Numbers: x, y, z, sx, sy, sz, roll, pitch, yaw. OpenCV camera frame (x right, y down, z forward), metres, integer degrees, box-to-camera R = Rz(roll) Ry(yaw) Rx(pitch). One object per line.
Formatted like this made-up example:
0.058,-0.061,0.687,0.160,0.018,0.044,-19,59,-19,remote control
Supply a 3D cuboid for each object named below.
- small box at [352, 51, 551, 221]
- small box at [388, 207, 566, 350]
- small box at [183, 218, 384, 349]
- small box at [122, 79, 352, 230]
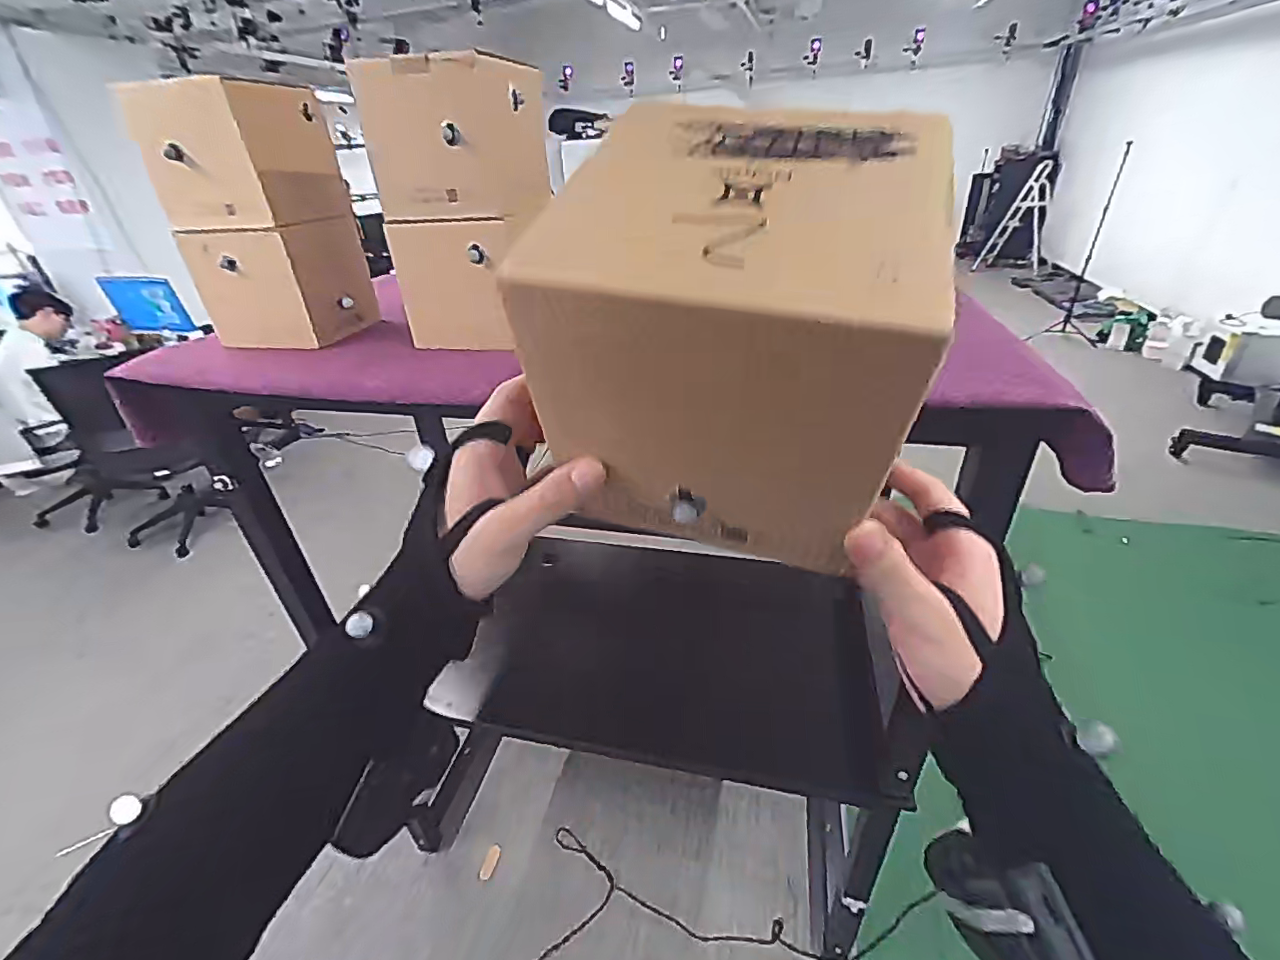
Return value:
-0.227,-0.436,0.708,0.168,0.176,0.179,5,31,13,small box
-0.219,-0.292,0.784,0.179,0.176,0.168,5,31,14,small box
-0.543,-0.310,0.851,0.179,0.176,0.168,4,32,10,small box
-0.551,-0.452,0.772,0.168,0.176,0.179,2,31,10,small box
